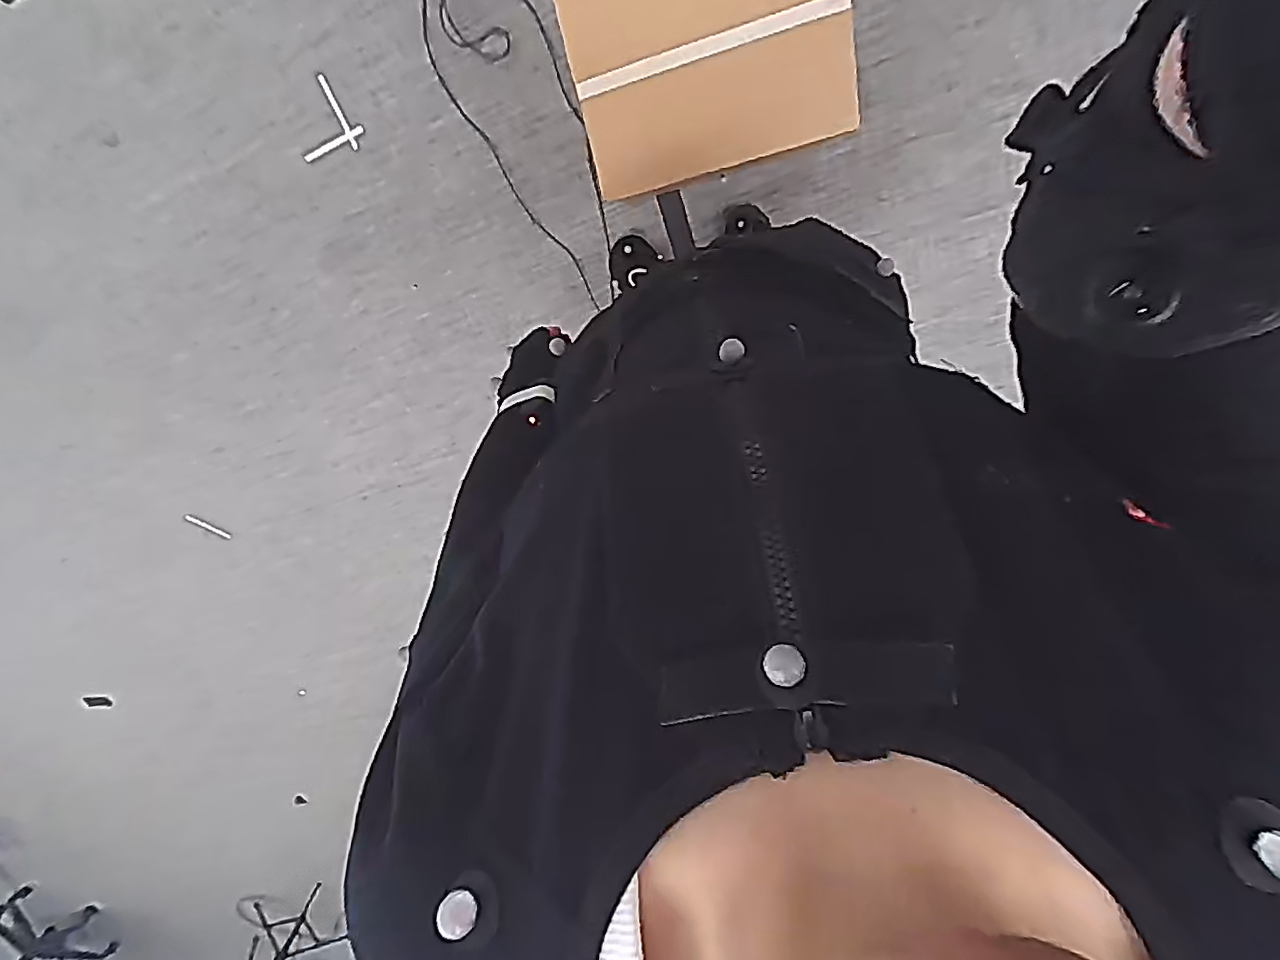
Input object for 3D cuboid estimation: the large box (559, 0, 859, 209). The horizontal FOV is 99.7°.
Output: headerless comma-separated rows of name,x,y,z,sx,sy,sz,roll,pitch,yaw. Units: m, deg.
large box,0.117,-0.686,0.929,0.408,0.320,0.320,-11,116,10
